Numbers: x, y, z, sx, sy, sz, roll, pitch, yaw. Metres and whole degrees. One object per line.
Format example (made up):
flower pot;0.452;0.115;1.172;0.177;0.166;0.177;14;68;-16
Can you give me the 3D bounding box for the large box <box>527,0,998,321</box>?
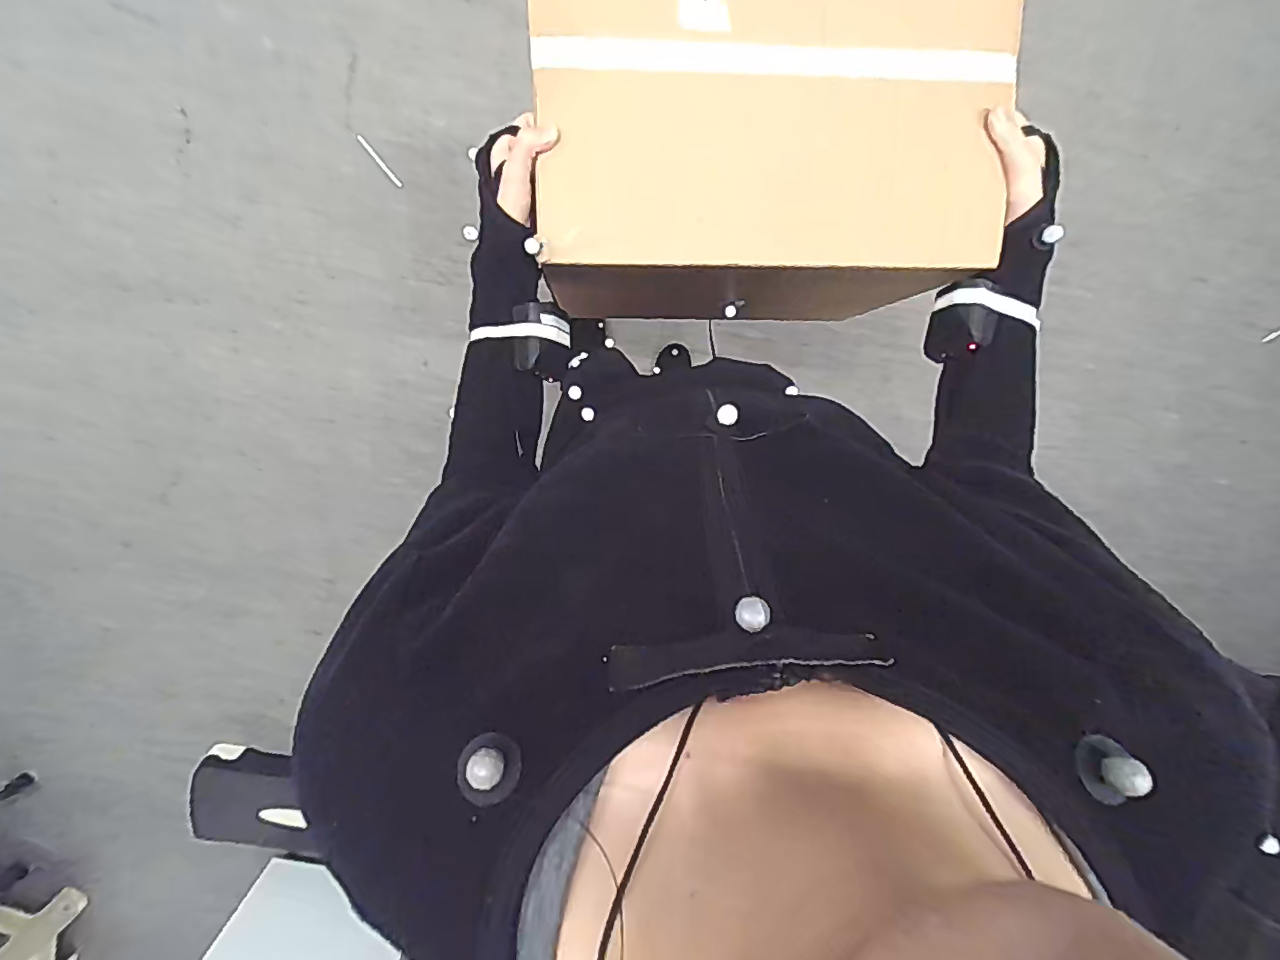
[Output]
large box;0.100;-0.357;0.606;0.408;0.320;0.320;-1;97;-3
